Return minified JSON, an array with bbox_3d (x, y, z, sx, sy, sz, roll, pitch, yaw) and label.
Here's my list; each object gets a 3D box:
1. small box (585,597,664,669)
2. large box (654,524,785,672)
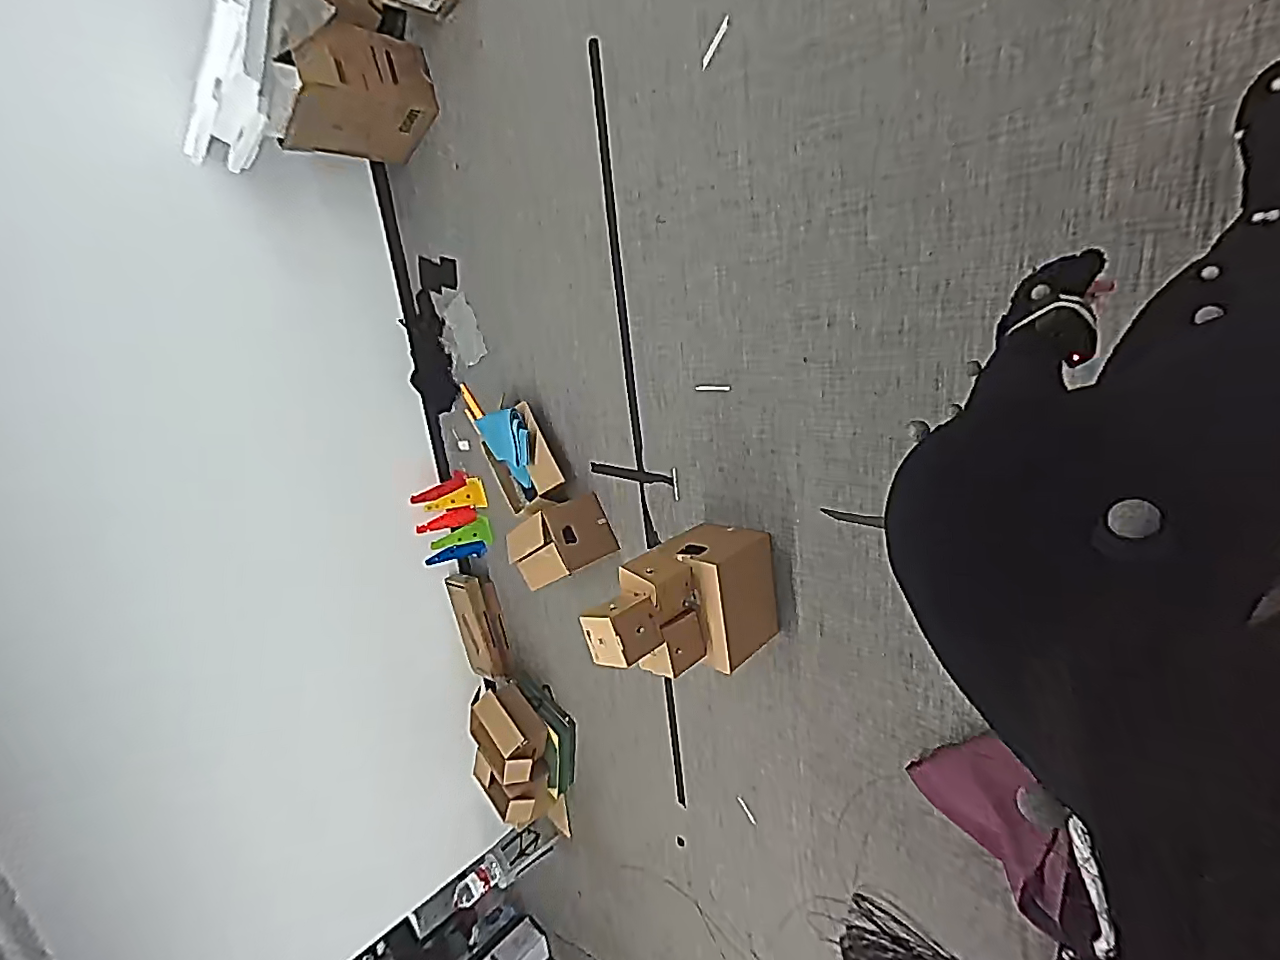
[{"bbox_3d":[-0.042,0.484,1.730,0.179,0.176,0.168,-16,94,48],"label":"small box"},{"bbox_3d":[0.293,0.406,1.957,0.320,0.320,0.408,3,107,46],"label":"large box"}]
